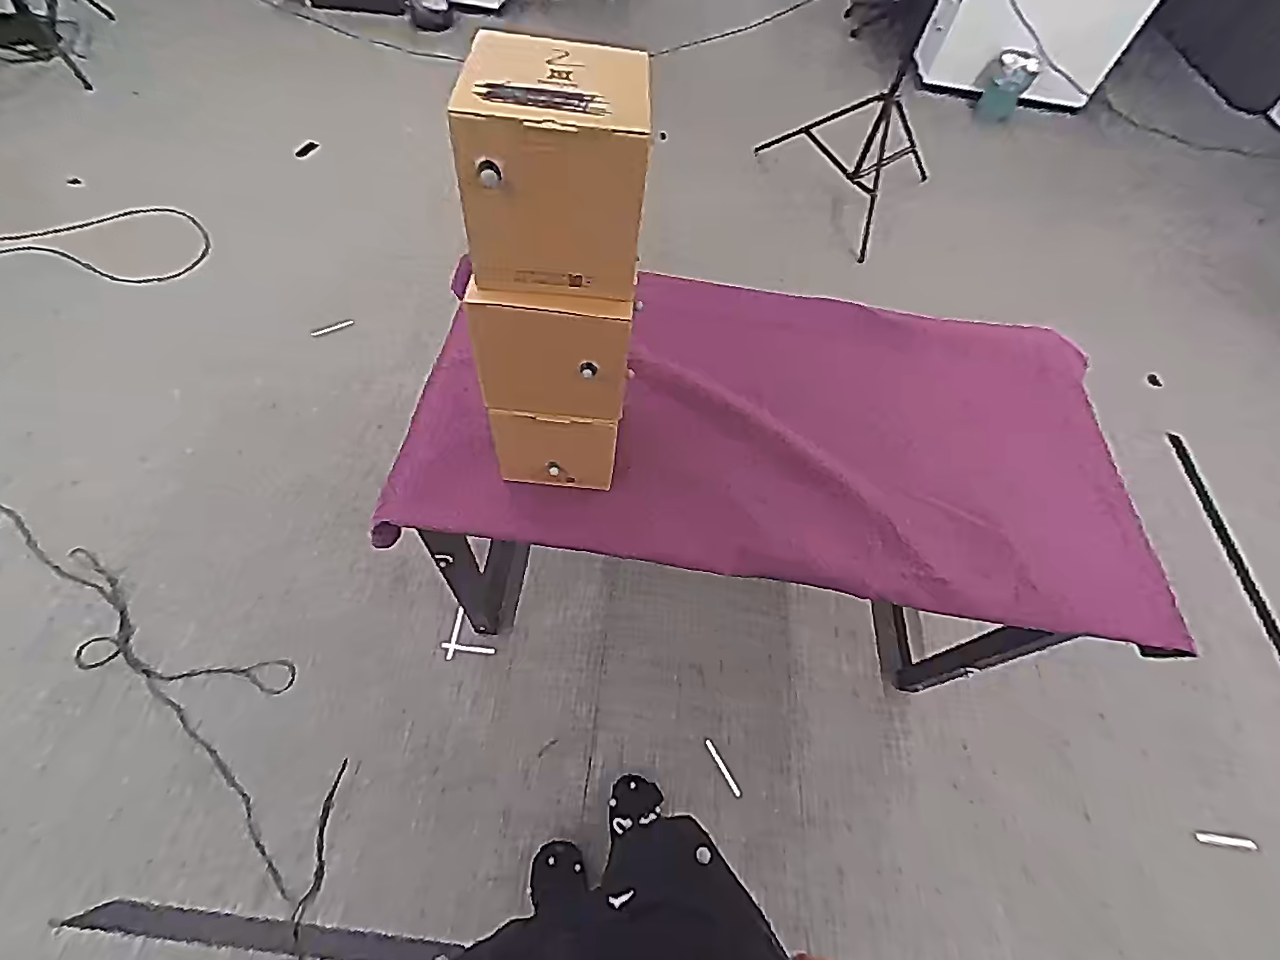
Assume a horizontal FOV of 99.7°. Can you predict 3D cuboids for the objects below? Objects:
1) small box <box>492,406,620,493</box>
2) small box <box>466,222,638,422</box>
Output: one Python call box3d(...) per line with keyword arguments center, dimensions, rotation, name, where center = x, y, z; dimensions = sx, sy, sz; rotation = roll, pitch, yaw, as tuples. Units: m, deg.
box3d(center=(-0.115, -0.103, 0.812), dimensions=(0.168, 0.176, 0.179), rotation=(6, 58, -3), name="small box")
box3d(center=(-0.100, -0.189, 0.676), dimensions=(0.179, 0.176, 0.168), rotation=(4, 56, -3), name="small box")
